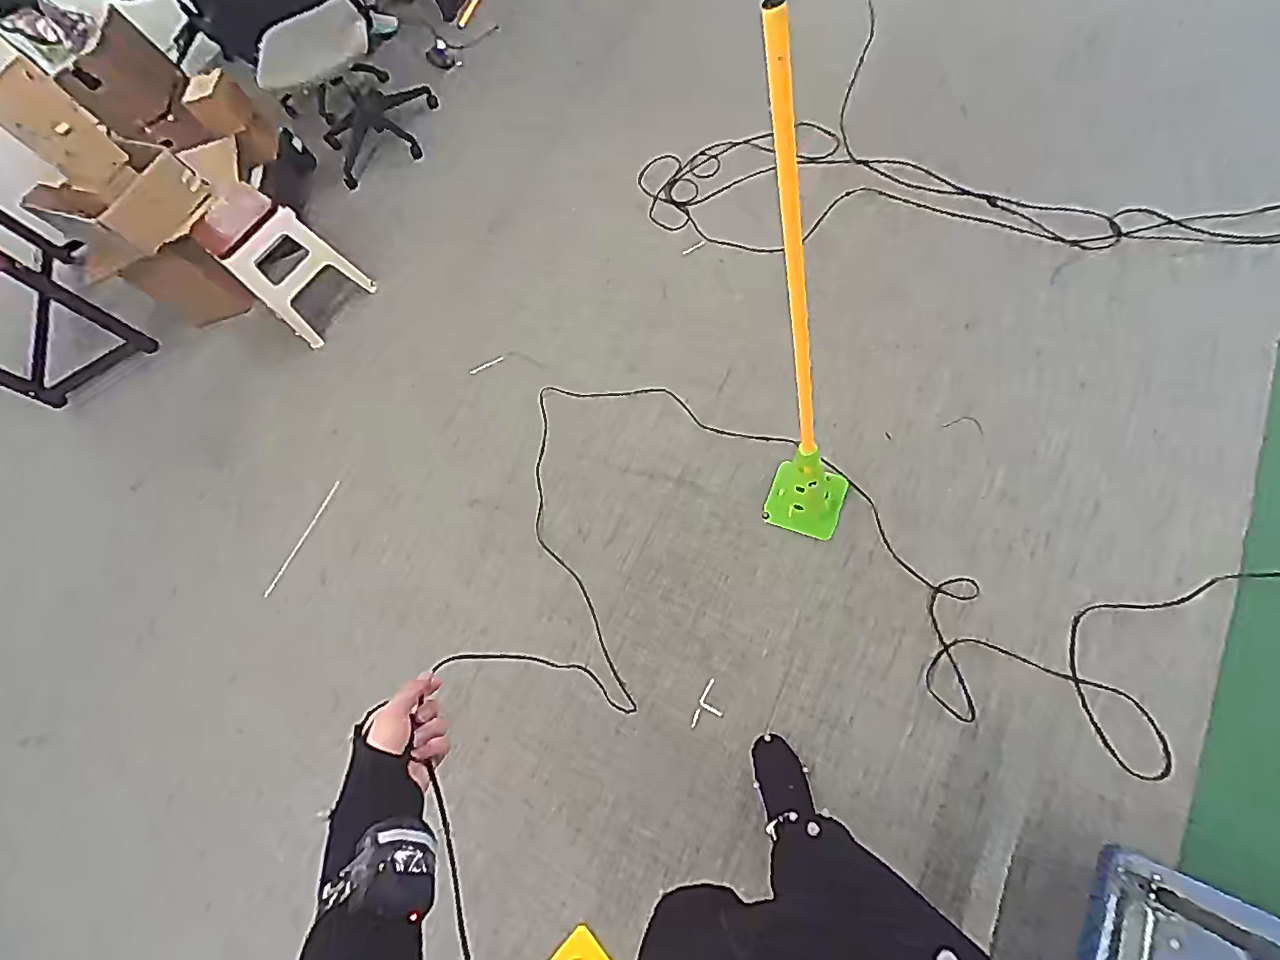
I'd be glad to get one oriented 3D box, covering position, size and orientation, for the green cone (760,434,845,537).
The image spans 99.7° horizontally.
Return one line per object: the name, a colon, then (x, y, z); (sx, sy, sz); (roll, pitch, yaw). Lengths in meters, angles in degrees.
green cone: (0.424, -0.015, 1.392); (0.200, 0.368, 0.202); (17, 73, 21)
